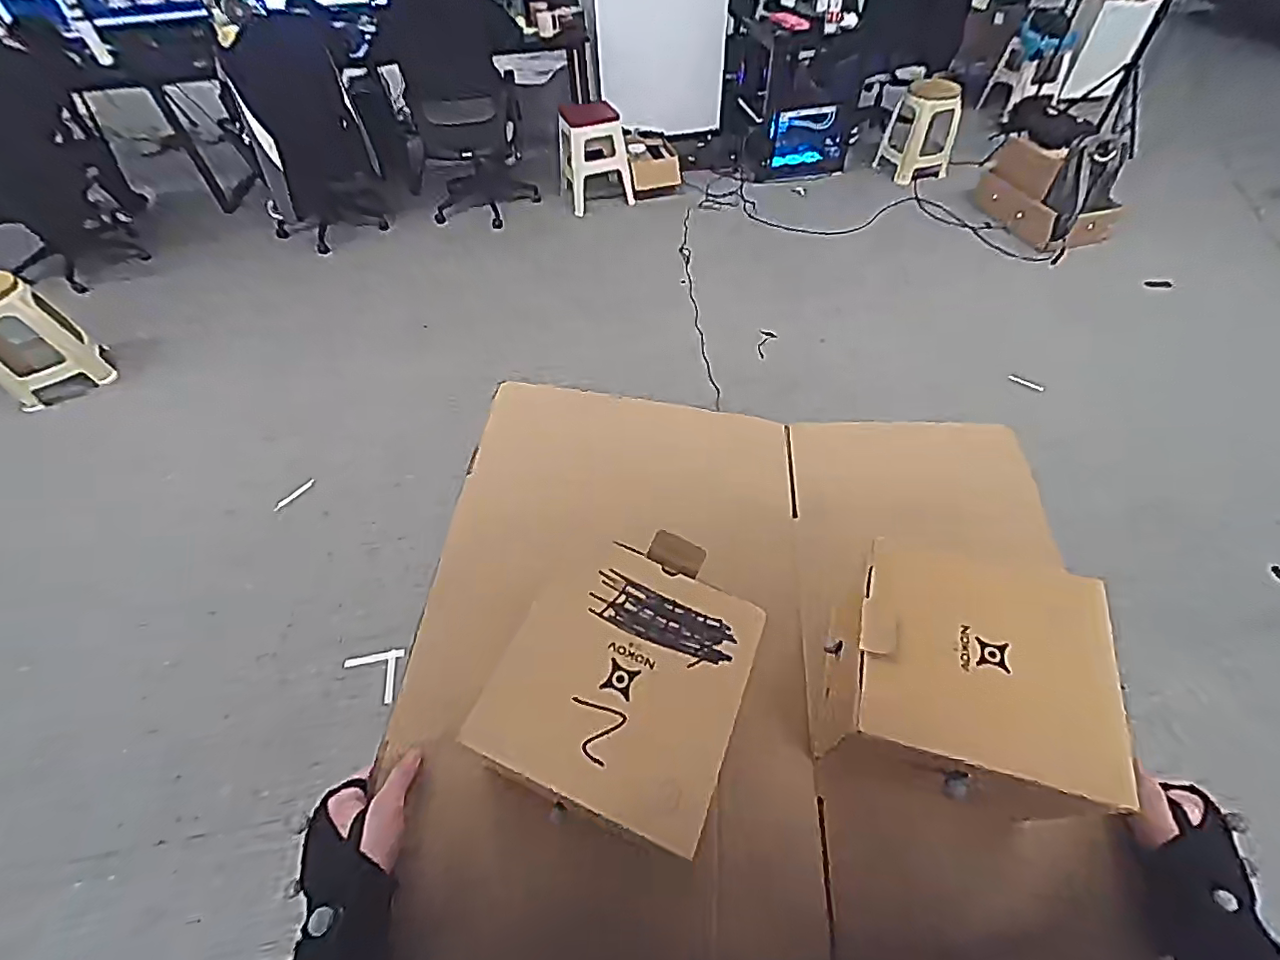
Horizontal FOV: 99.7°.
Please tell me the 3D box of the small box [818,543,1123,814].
[{"bbox_3d":[0.271,0.181,0.485,0.179,0.176,0.168,11,58,15],"label":"small box"}]
